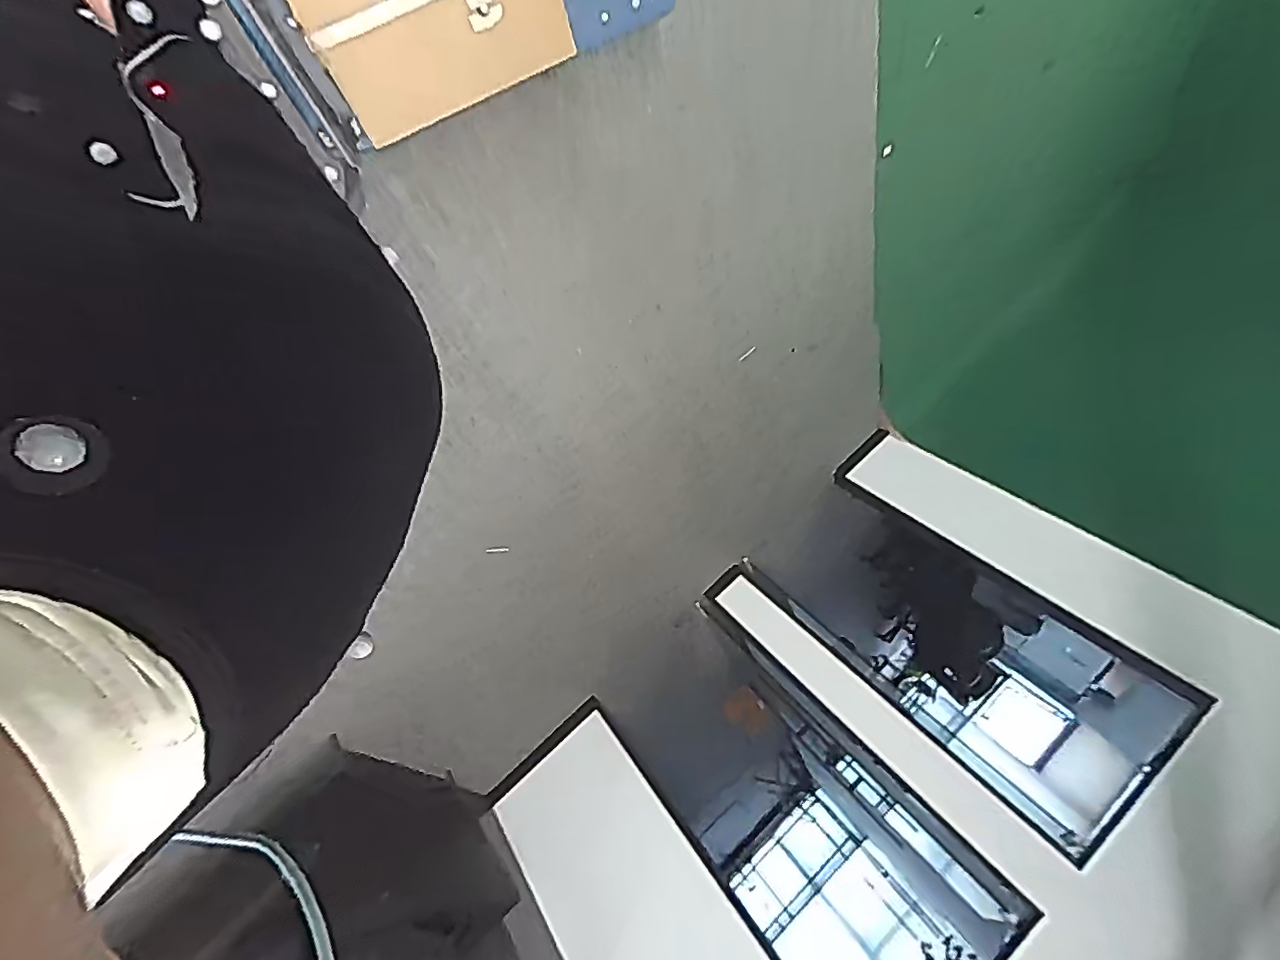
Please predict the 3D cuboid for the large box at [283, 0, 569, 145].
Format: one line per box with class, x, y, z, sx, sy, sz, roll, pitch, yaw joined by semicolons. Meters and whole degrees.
large box;-0.403;-0.865;0.949;0.408;0.320;0.320;-31;139;-6
